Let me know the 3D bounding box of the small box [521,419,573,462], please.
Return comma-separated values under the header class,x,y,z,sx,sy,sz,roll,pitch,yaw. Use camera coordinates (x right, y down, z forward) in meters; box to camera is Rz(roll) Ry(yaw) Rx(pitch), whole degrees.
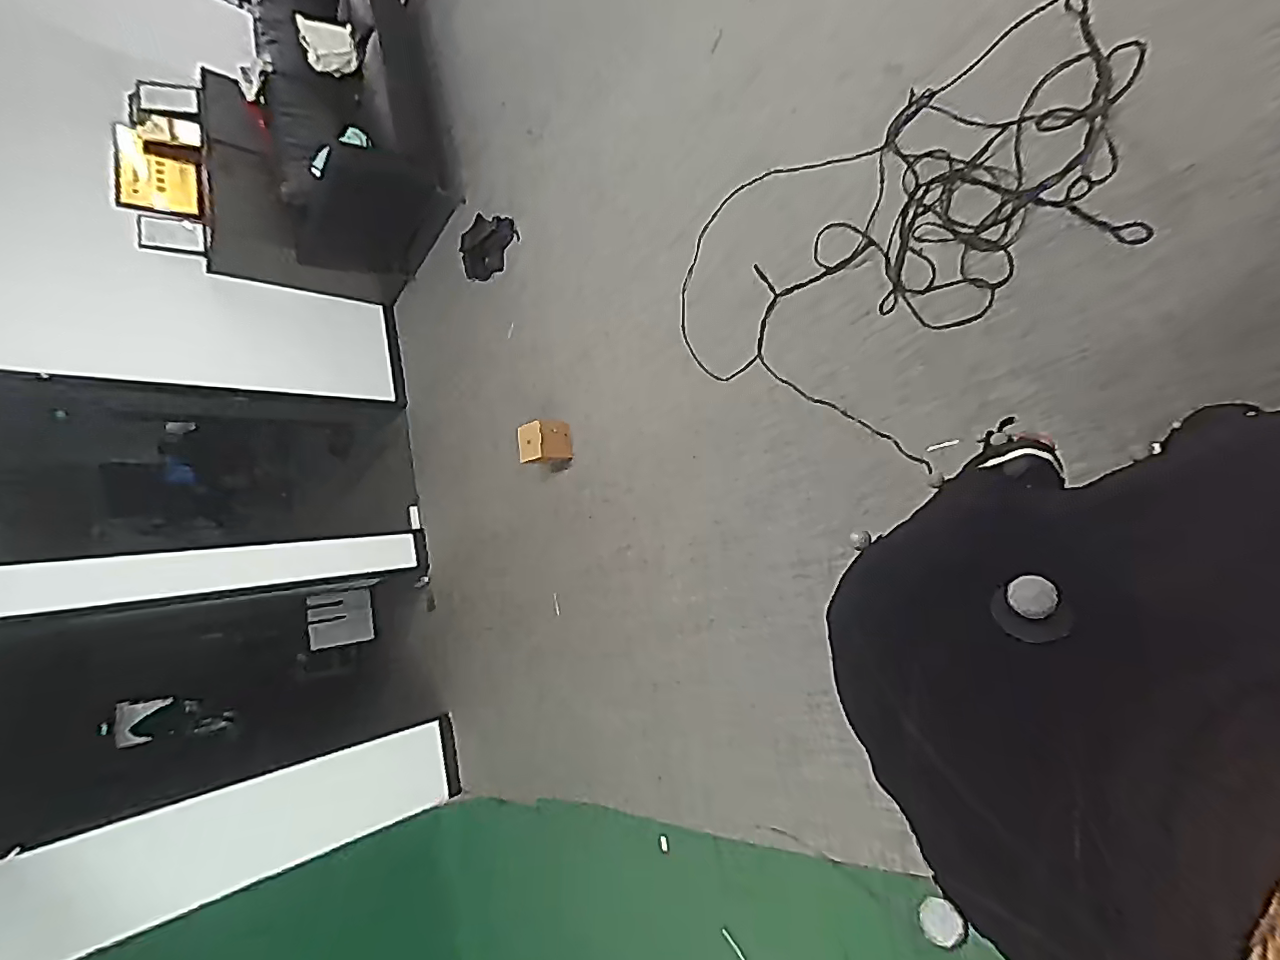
class,x,y,z,sx,sy,sz,roll,pitch,yaw
small box,-0.412,-0.174,2.419,0.179,0.176,0.168,-12,80,48
